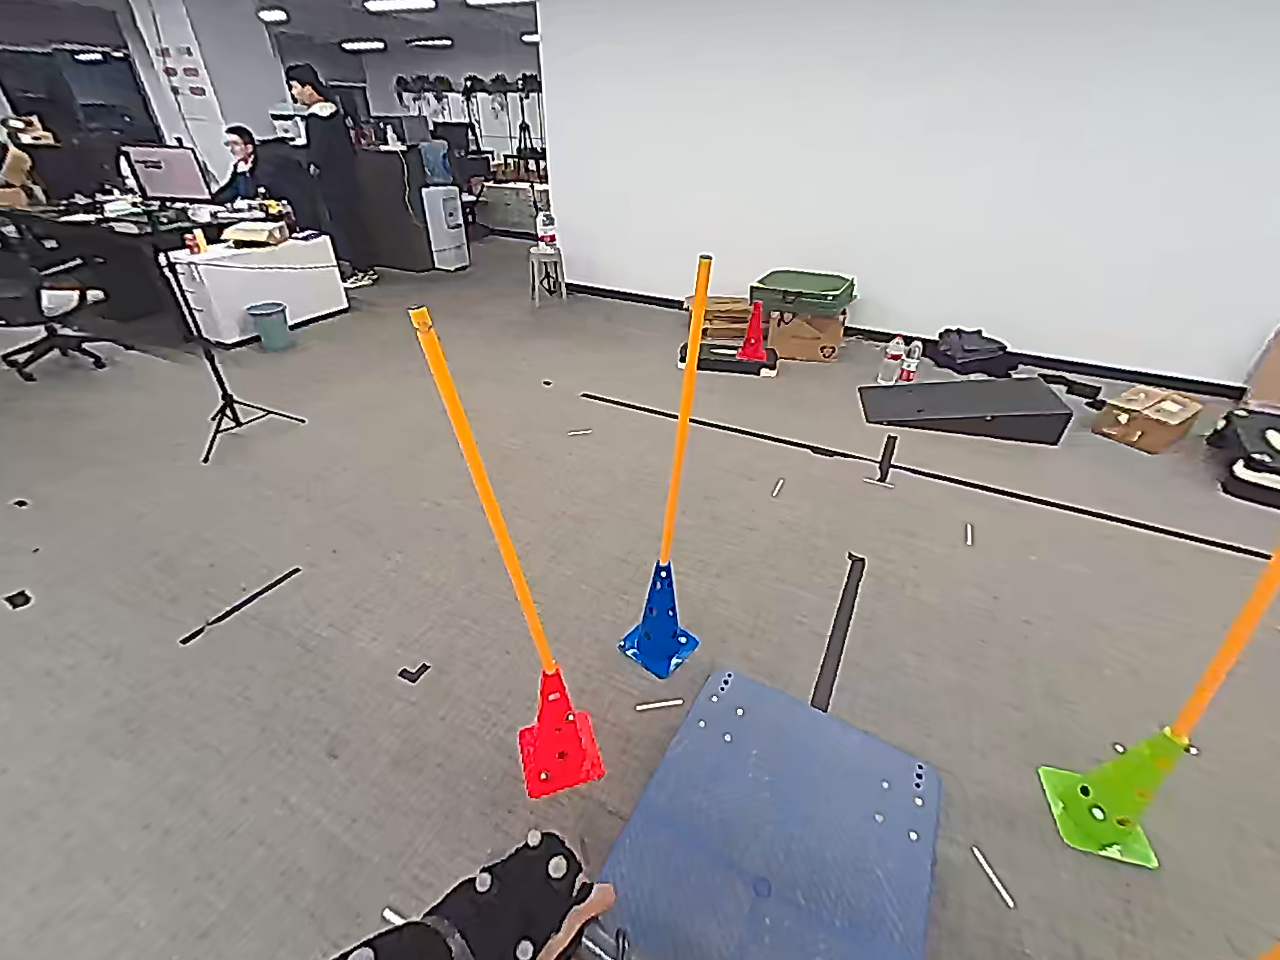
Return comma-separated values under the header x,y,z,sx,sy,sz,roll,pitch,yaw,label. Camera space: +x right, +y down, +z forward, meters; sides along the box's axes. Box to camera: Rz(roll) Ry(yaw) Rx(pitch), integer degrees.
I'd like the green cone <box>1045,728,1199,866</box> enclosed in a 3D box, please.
x,y,z,sx,sy,sz,roll,pitch,yaw,label
1.132,0.677,1.229,0.200,0.368,0.202,9,36,11,green cone

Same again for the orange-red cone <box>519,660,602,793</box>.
x,y,z,sx,sy,sz,roll,pitch,yaw,label
-0.207,0.571,1.337,0.199,0.360,0.198,-8,36,-16,orange-red cone

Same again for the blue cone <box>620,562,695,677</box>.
x,y,z,sx,sy,sz,roll,pitch,yaw,label
0.062,0.393,1.641,0.193,0.380,0.192,28,43,33,blue cone
